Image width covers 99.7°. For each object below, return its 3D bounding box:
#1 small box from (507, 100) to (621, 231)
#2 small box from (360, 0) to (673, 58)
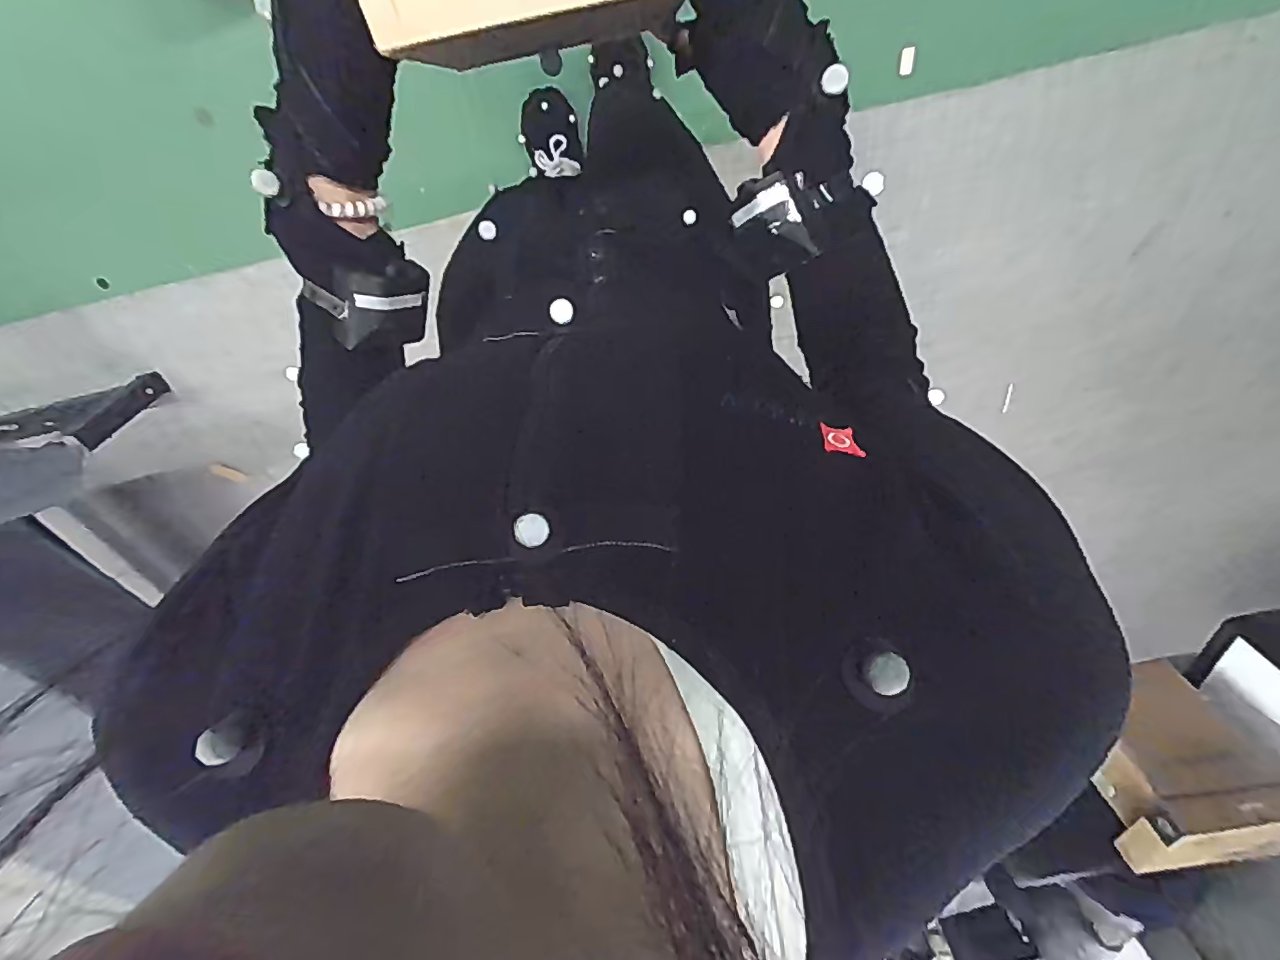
[{"bbox_3d":[-0.165,-0.667,1.149,0.179,0.176,0.168,28,133,-8],"label":"small box"},{"bbox_3d":[-0.070,-0.350,0.283,0.168,0.176,0.179,-8,124,4],"label":"small box"}]
